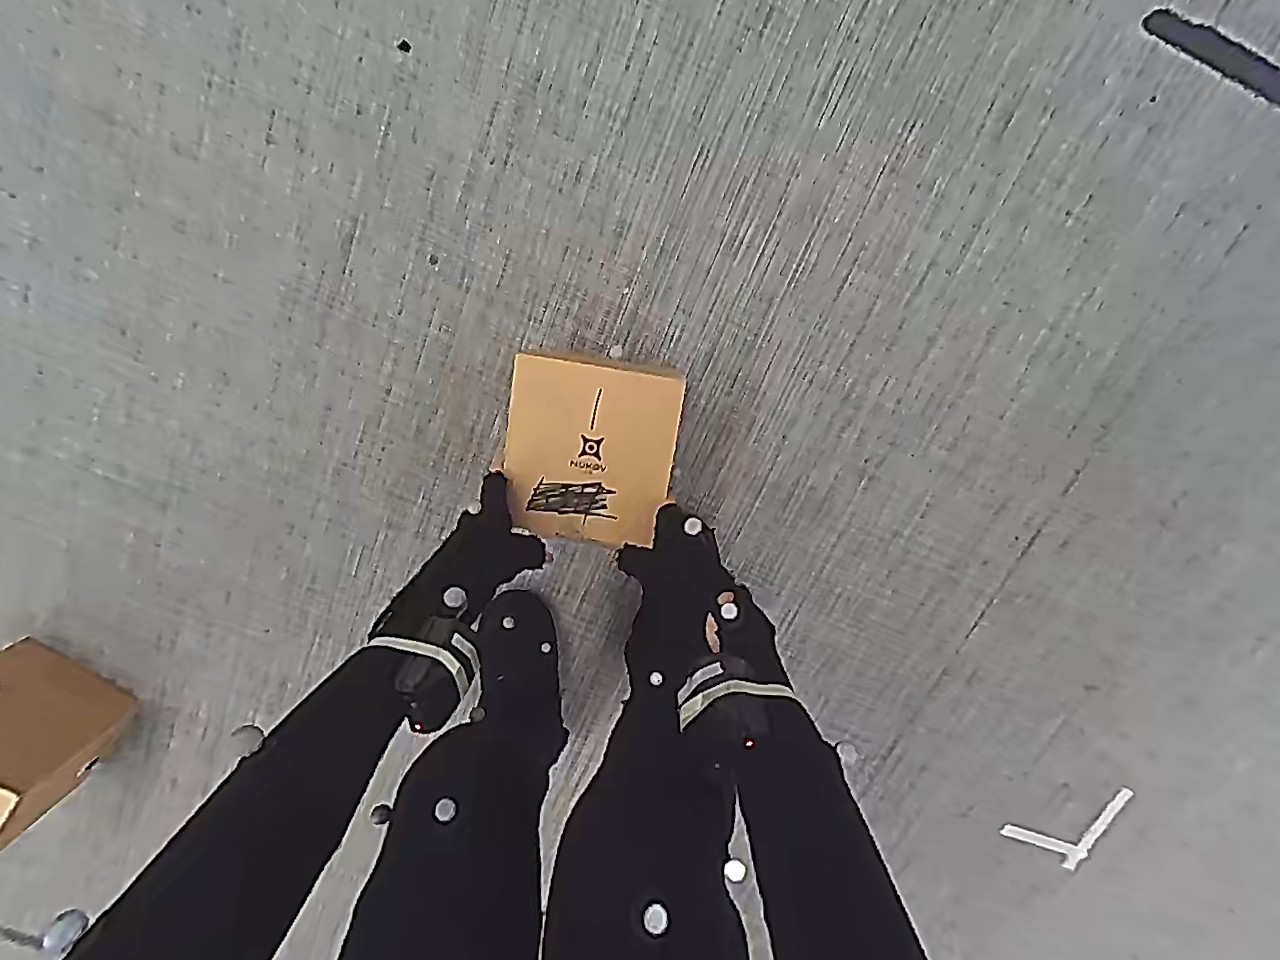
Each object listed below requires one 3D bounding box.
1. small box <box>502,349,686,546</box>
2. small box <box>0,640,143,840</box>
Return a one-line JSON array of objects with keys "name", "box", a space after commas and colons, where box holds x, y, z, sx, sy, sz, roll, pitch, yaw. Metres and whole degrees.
[{"name": "small box", "box": [-0.045, -0.047, 0.610, 0.168, 0.176, 0.179, 9, 103, -1]}, {"name": "small box", "box": [-0.838, 0.342, 0.715, 0.179, 0.176, 0.168, 38, 103, -11]}]
